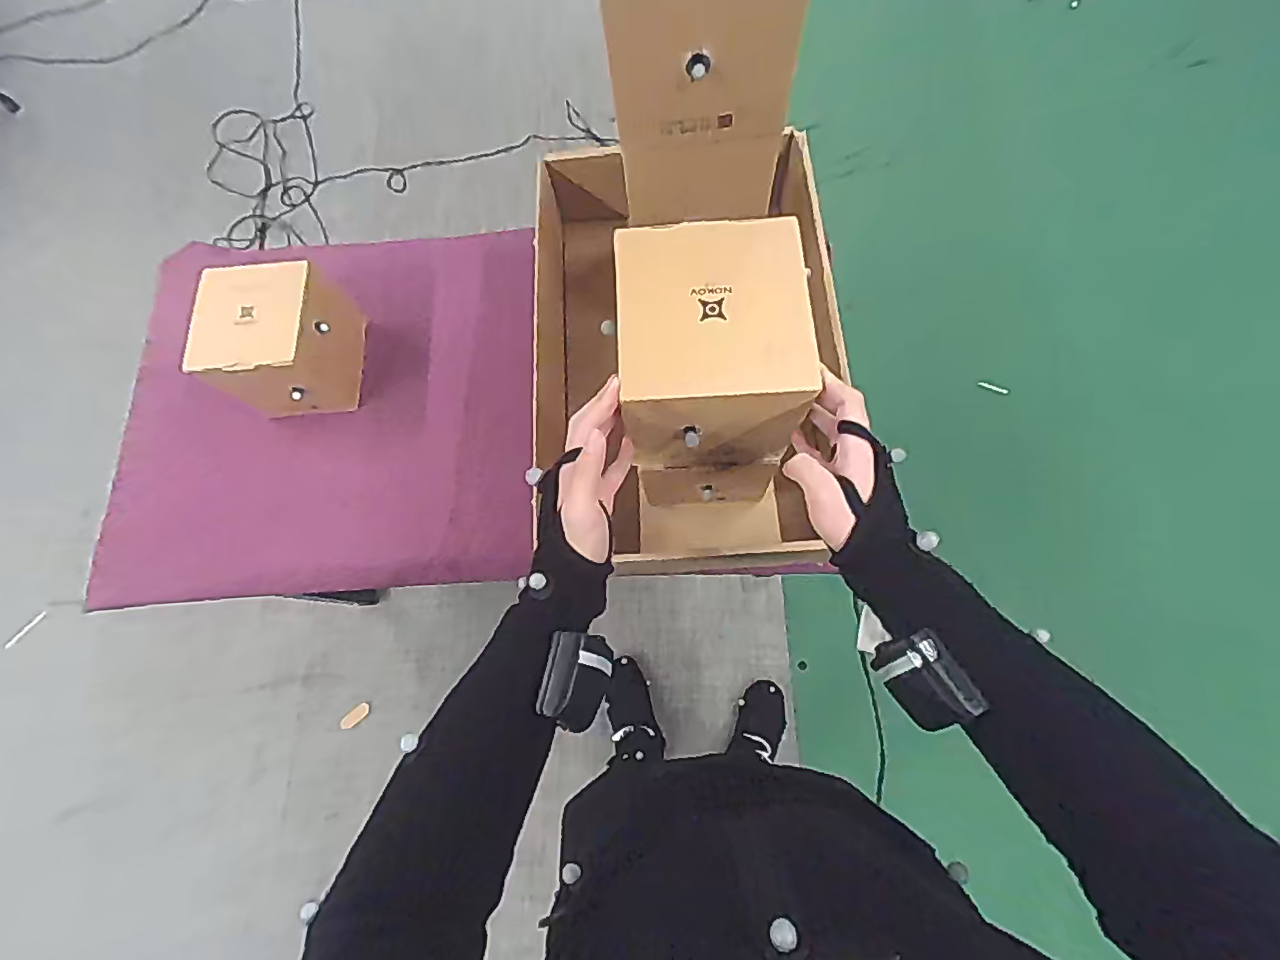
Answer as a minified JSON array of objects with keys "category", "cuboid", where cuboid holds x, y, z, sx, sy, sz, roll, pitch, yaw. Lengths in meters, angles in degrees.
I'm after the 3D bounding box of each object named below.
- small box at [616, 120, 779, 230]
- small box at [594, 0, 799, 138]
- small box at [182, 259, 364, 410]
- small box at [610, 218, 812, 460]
[{"category":"small box","cuboid":[0.059,-0.399,0.643,0.168,0.176,0.179,-5,75,4]},{"category":"small box","cuboid":[0.047,-0.439,0.483,0.168,0.176,0.179,-4,74,3]},{"category":"small box","cuboid":[-0.568,-0.220,0.862,0.168,0.176,0.179,-3,73,2]},{"category":"small box","cuboid":[0.062,-0.124,0.537,0.168,0.176,0.179,-3,72,3]}]
